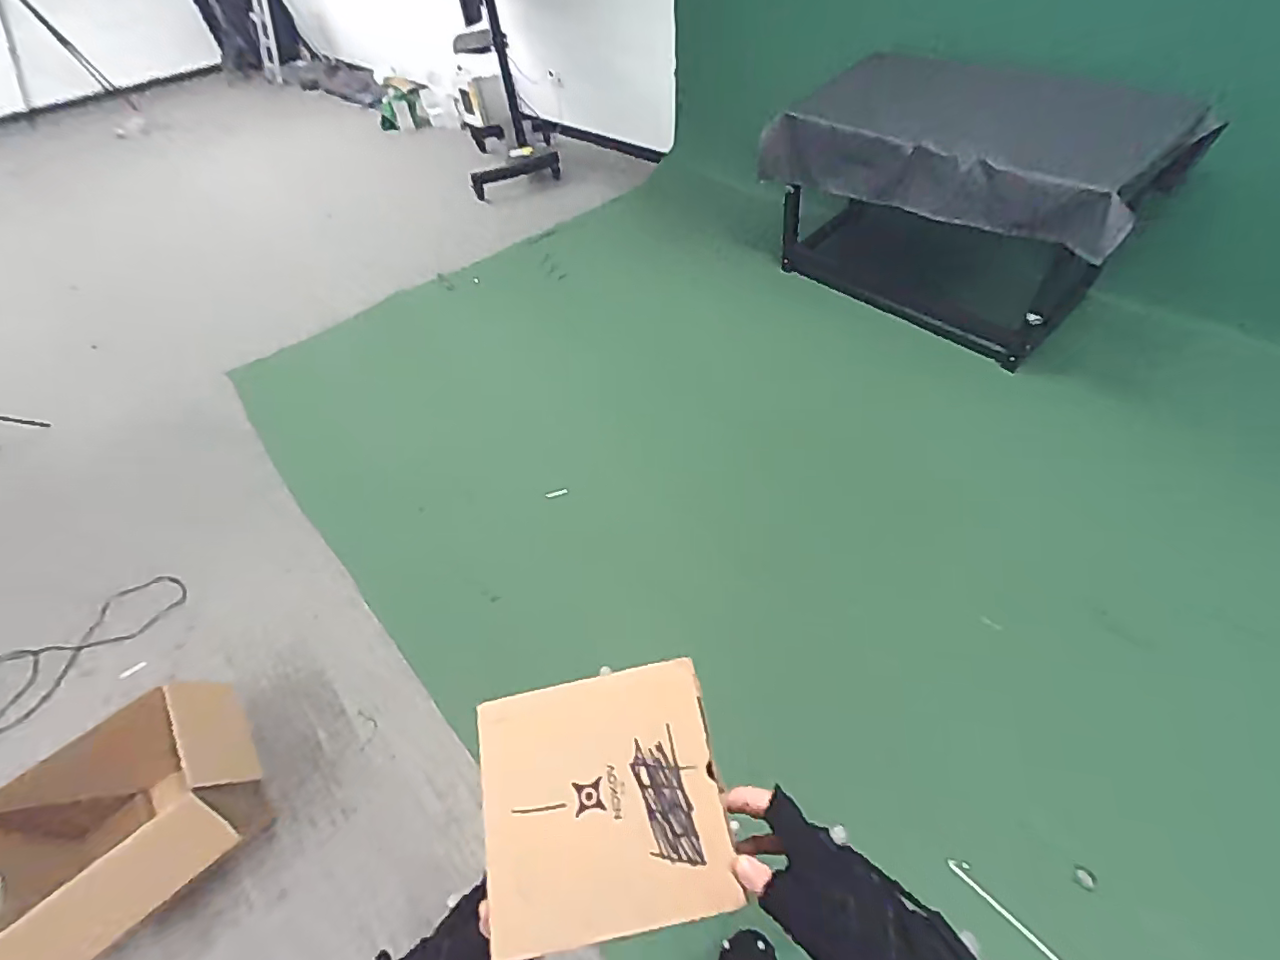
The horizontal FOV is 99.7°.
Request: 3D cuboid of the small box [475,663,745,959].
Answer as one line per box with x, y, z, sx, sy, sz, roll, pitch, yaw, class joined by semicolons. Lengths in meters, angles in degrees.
-0.025;0.265;0.458;0.179;0.176;0.168;-12;62;-1;small box
